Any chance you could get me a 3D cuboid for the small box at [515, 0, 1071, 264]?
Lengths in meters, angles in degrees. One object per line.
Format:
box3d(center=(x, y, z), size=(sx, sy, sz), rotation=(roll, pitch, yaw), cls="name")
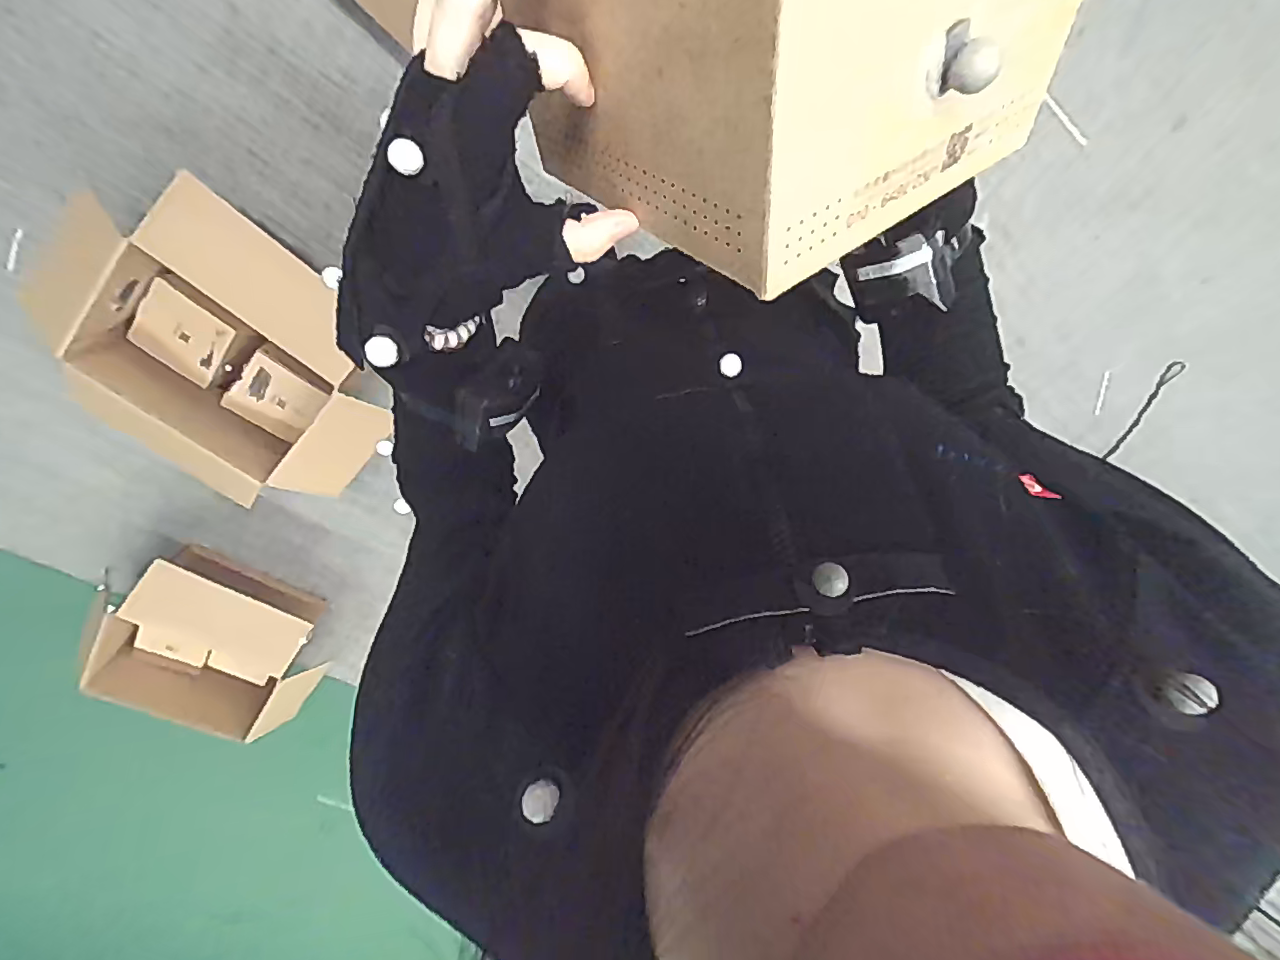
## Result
box3d(center=(0.050, -0.215, 0.209), size=(0.168, 0.179, 0.176), rotation=(-34, 146, -15), cls="small box")
